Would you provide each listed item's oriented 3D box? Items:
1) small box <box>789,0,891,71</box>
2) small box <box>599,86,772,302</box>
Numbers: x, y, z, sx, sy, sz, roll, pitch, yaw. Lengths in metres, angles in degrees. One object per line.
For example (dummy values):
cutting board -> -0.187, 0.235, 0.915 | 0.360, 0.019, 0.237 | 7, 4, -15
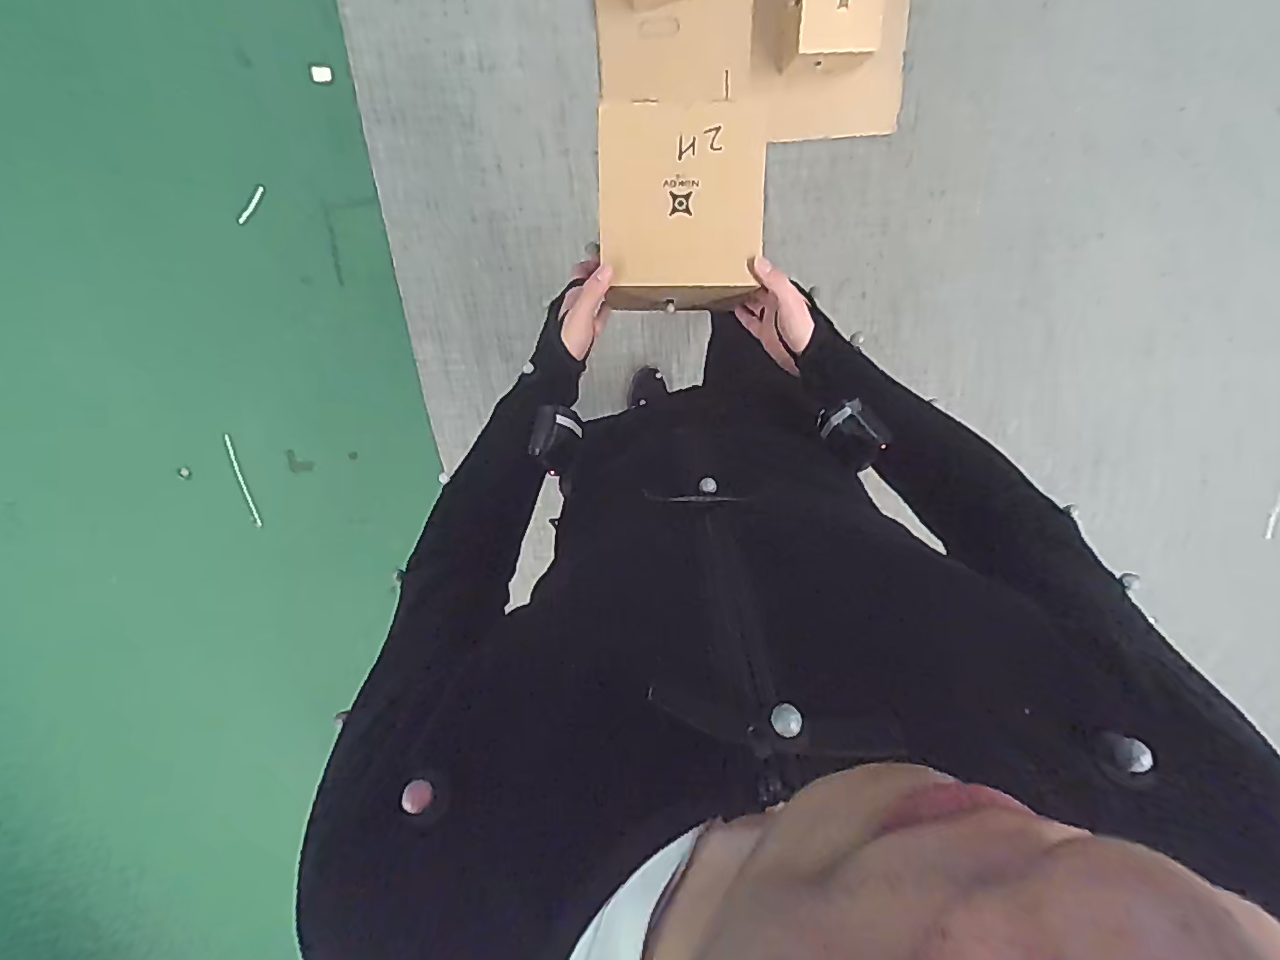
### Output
small box -> 0.412, -0.975, 1.123 | 0.168, 0.176, 0.179 | 1, 112, 3
small box -> 0.043, -0.302, 0.608 | 0.168, 0.176, 0.179 | 1, 99, -1
